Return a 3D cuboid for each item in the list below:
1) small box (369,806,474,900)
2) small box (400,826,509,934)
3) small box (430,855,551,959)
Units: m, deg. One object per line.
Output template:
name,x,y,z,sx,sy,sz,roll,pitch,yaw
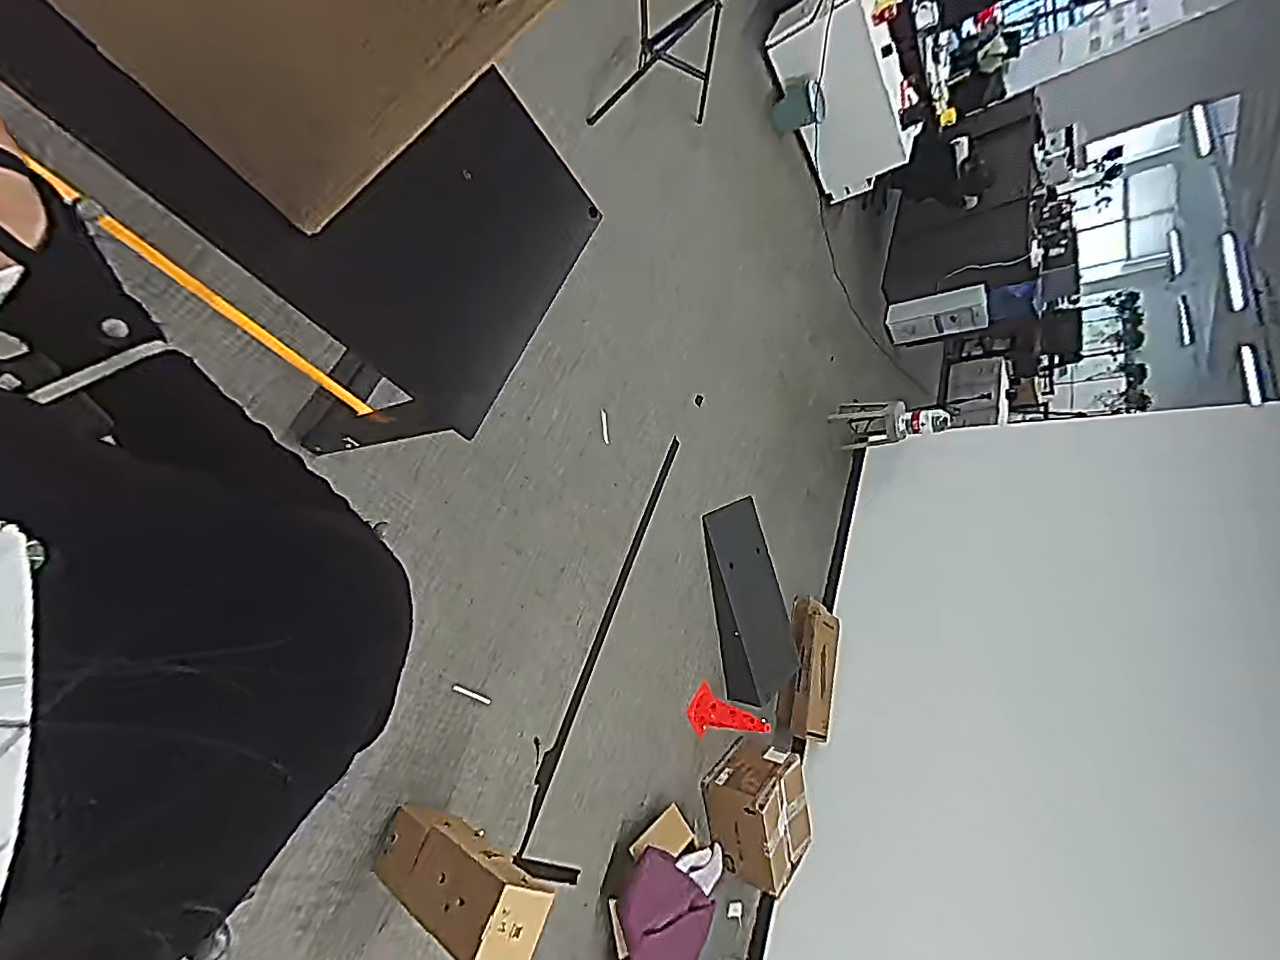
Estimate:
small box,-0.601,1.021,1.487,0.179,0.176,0.168,38,60,-40
small box,-0.476,1.017,1.380,0.168,0.176,0.179,44,57,-38
small box,-0.351,1.016,1.272,0.179,0.176,0.168,47,55,-36
